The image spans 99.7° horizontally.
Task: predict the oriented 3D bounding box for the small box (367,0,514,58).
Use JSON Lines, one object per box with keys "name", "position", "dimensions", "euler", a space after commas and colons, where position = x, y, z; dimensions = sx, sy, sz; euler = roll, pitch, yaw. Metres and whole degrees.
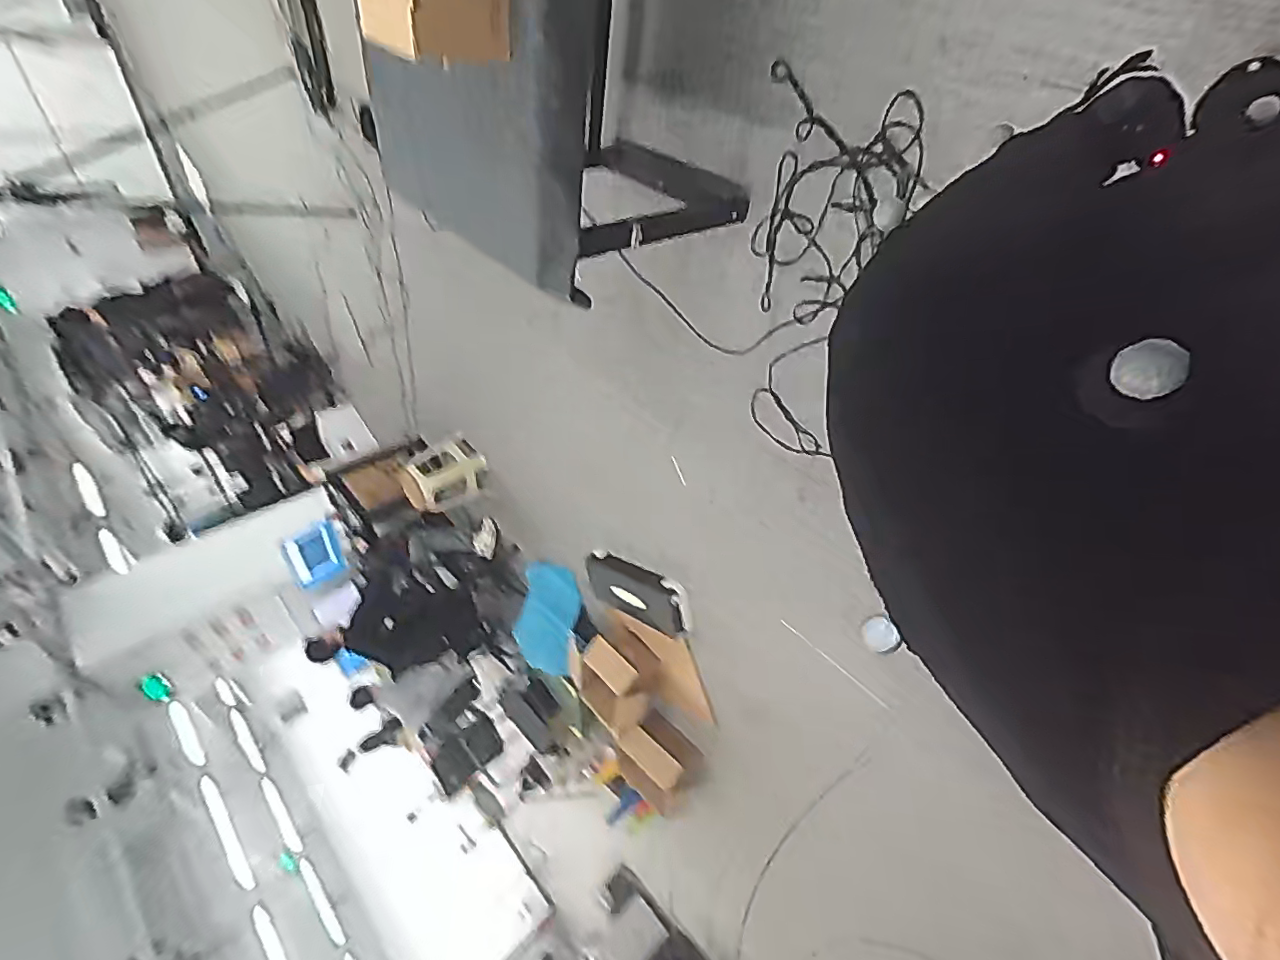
{"name": "small box", "position": [-0.303, -0.761, 0.821], "dimensions": [0.179, 0.176, 0.168], "euler": [41, 140, 27]}
